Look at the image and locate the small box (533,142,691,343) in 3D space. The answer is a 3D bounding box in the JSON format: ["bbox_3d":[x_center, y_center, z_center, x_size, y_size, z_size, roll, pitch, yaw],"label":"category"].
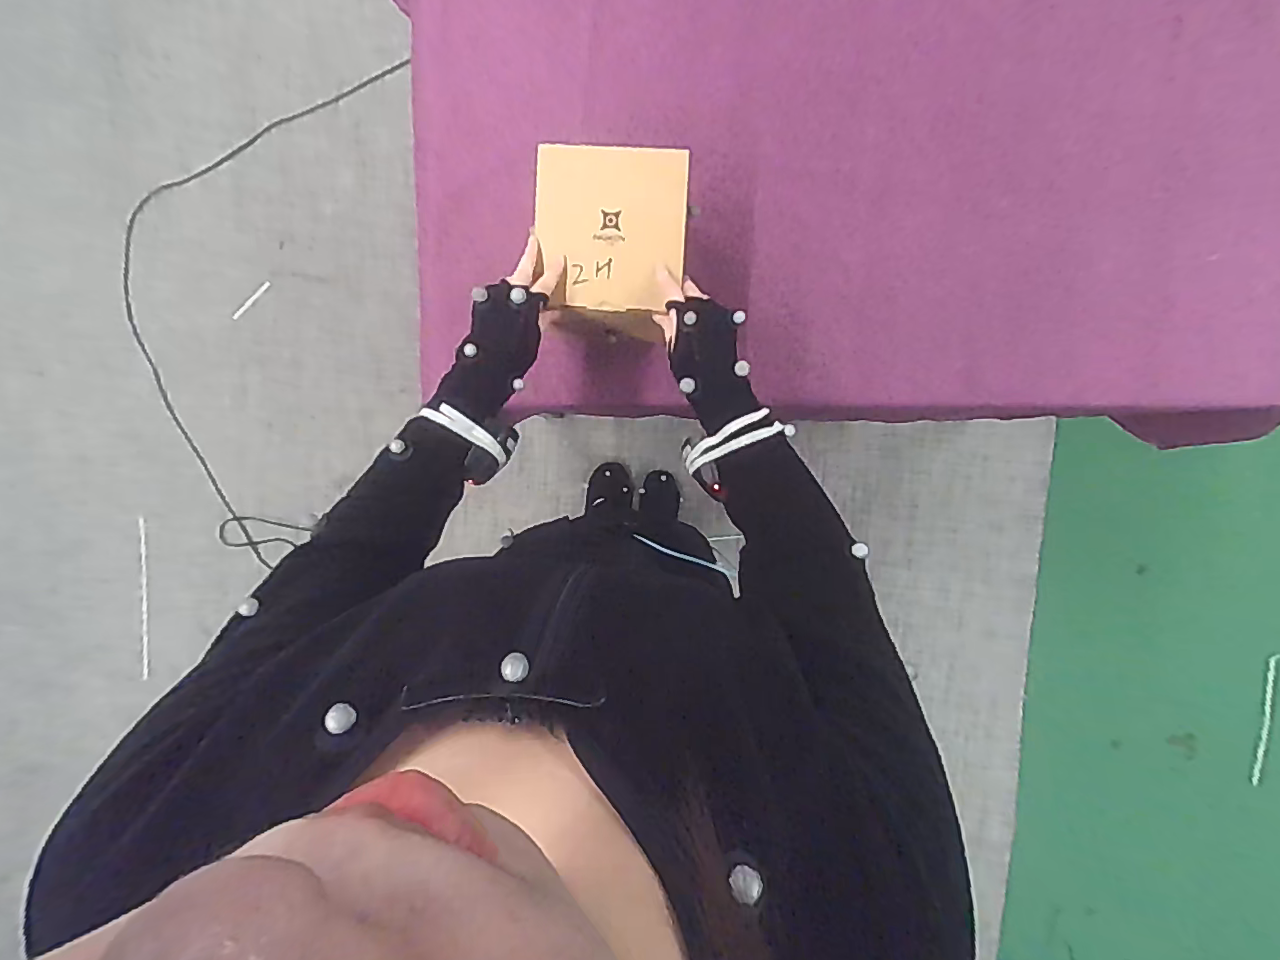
[{"bbox_3d":[-0.030,-0.278,0.666,0.168,0.176,0.179,3,93,2],"label":"small box"}]
